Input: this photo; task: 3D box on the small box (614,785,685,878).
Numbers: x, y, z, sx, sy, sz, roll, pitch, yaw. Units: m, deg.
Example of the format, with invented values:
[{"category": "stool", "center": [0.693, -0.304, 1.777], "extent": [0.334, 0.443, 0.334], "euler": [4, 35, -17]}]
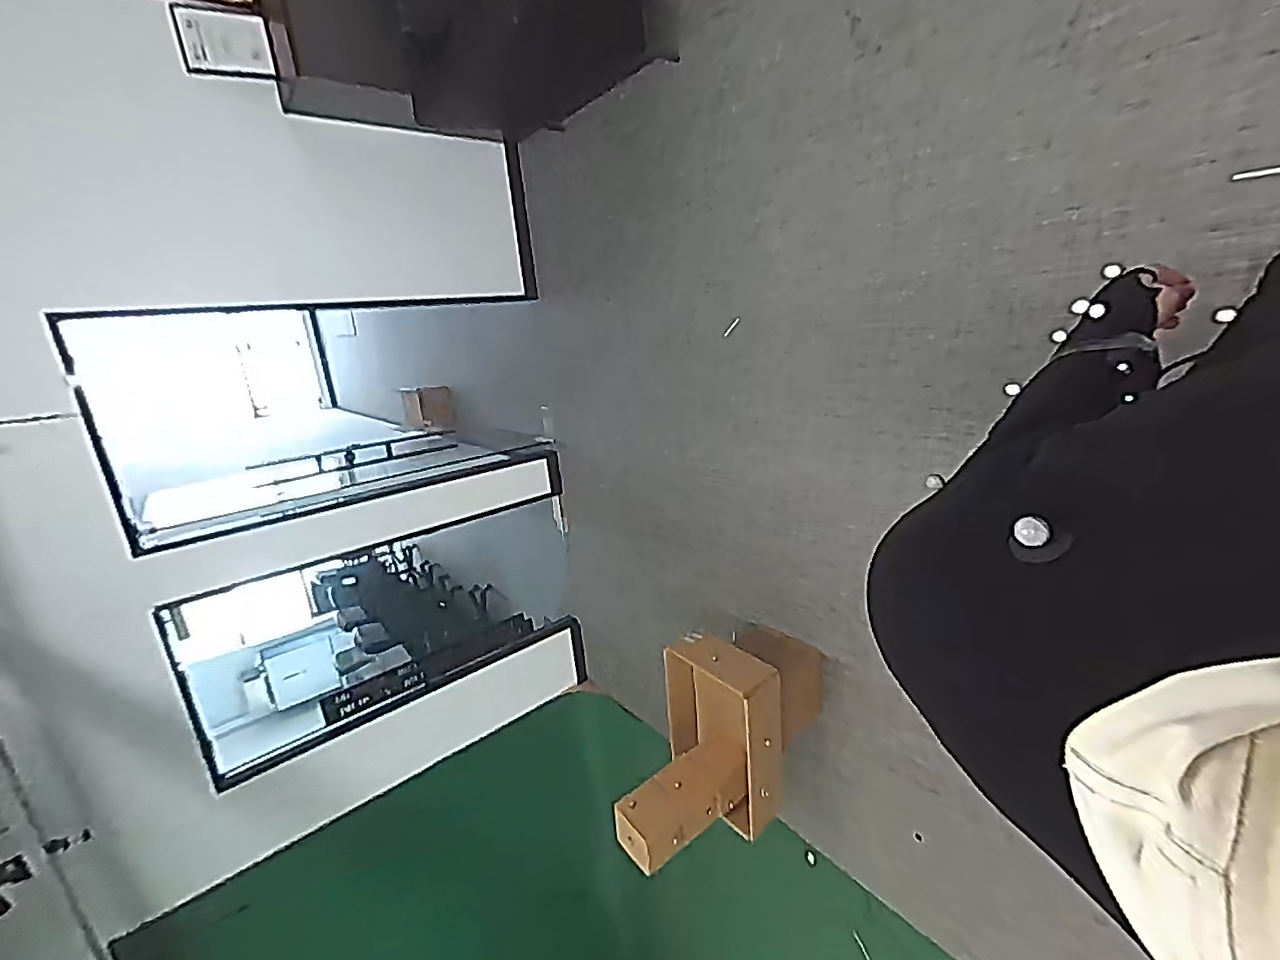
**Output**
[{"category": "small box", "center": [0.031, 1.167, 1.818], "extent": [0.179, 0.176, 0.168], "euler": [21, 120, 48]}]

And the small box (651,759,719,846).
[{"category": "small box", "center": [0.161, 1.129, 1.913], "extent": [0.179, 0.176, 0.168], "euler": [18, 118, 49]}]
